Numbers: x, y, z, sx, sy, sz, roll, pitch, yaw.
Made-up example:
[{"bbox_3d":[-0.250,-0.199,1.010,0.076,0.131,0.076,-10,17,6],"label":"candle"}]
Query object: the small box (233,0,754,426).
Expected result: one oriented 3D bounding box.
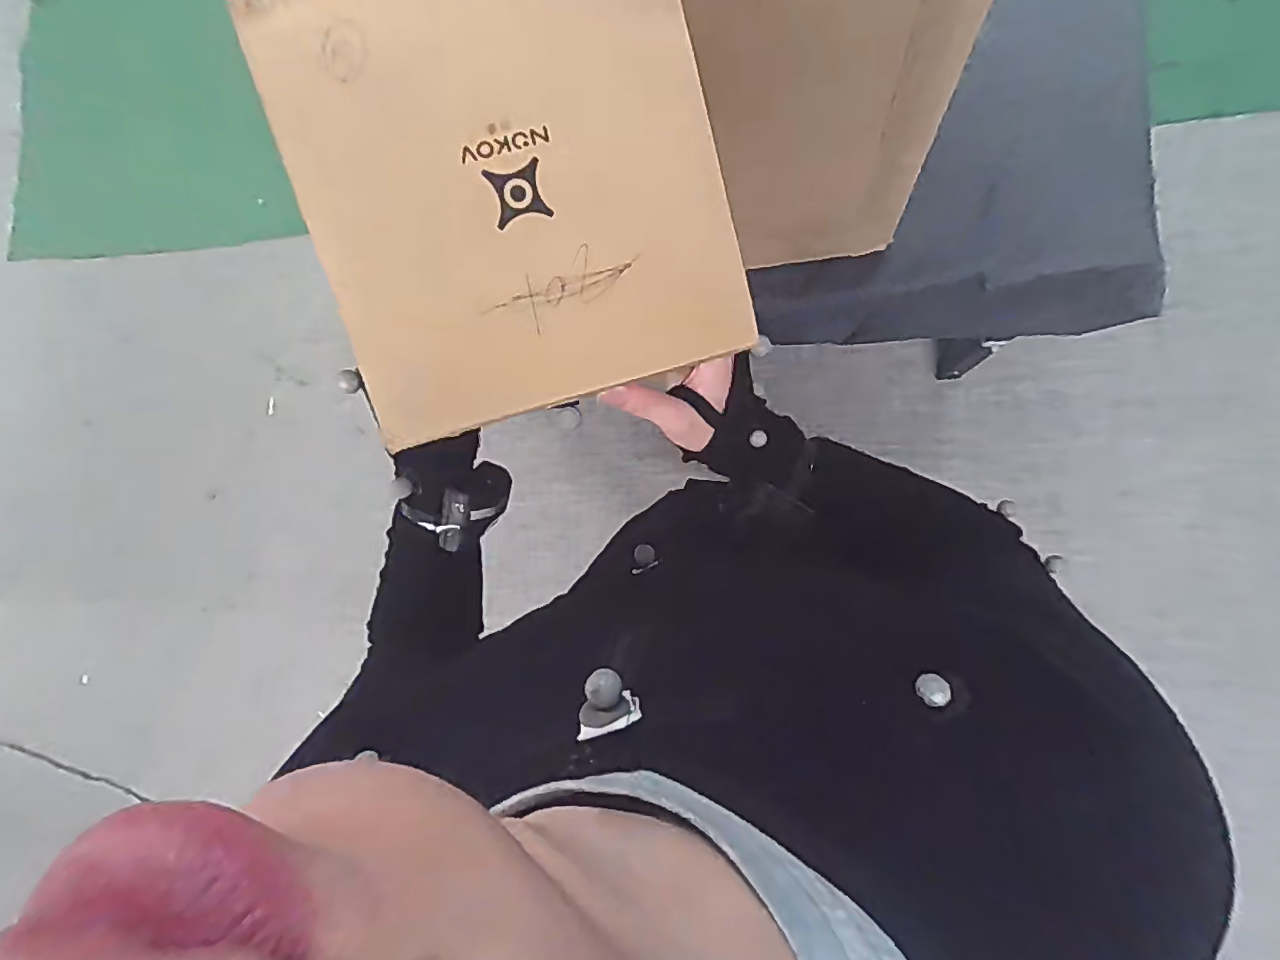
[{"bbox_3d":[-0.057,-0.138,0.293,0.168,0.176,0.179,-17,101,-1],"label":"small box"}]
